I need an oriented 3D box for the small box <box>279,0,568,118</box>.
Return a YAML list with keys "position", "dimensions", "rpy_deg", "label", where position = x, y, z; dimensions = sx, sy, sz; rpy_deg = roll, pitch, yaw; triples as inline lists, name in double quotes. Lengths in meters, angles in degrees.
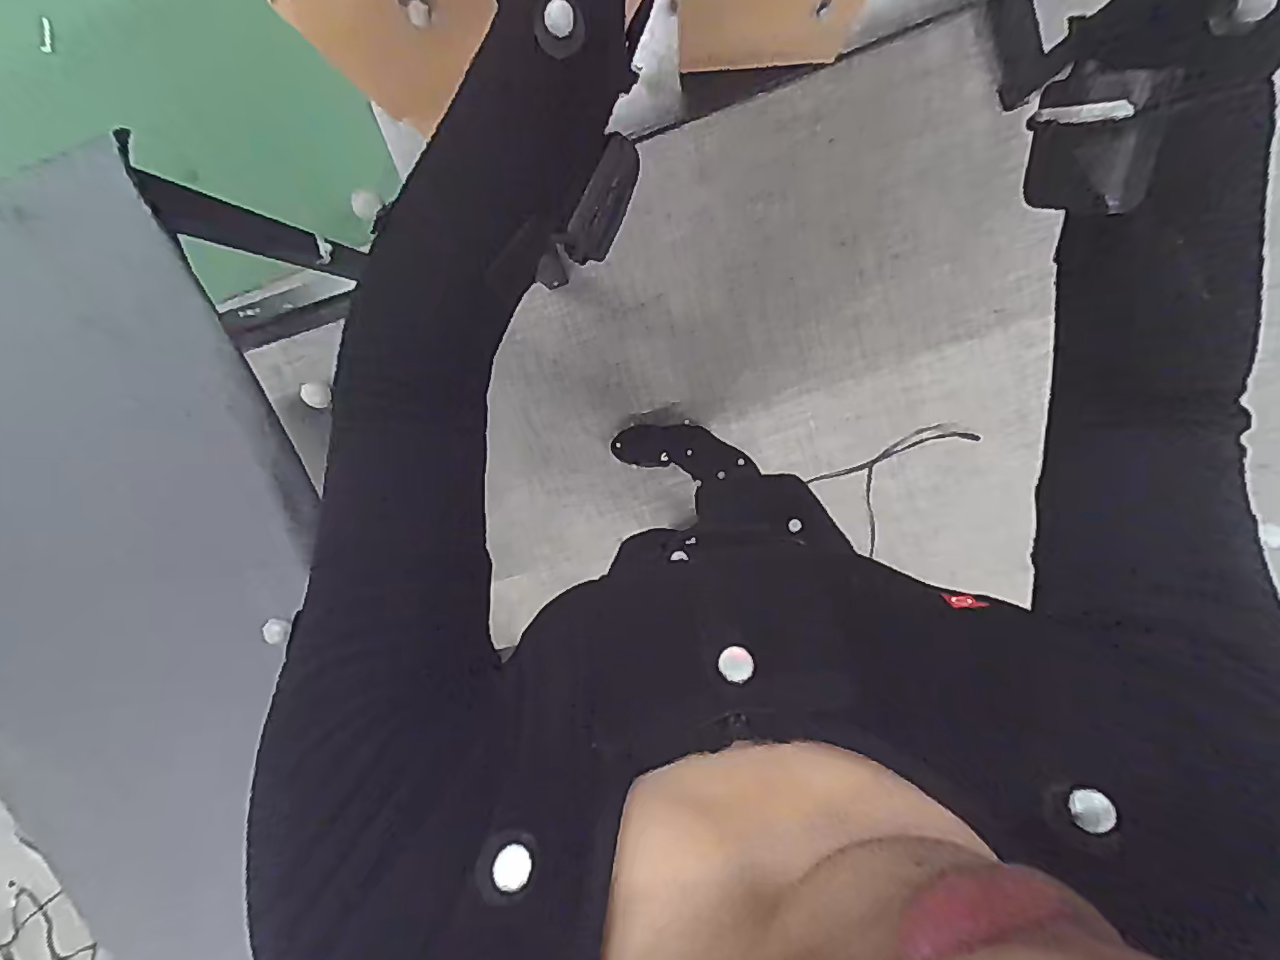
- position: [-0.160, -0.405, 0.387]
  dimensions: [0.179, 0.176, 0.168]
  rpy_deg: [-18, 101, 6]
  label: "small box"
